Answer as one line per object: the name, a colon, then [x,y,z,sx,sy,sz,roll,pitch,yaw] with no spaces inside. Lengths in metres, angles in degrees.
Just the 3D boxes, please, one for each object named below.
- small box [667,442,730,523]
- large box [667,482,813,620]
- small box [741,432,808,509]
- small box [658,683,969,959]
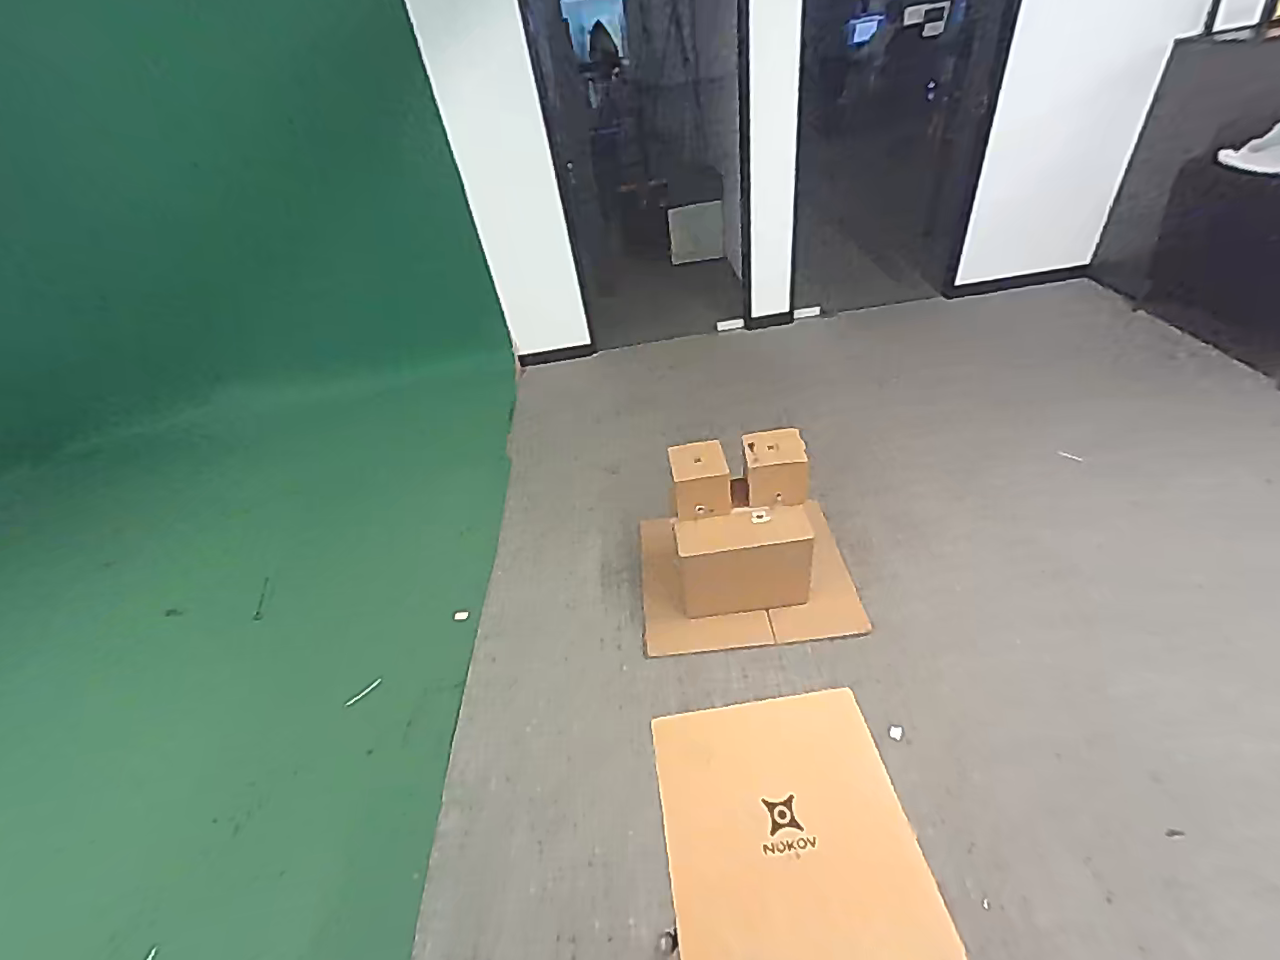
small box: [0.181,0.008,1.686,0.168,0.176,0.179,-10,39,1]
large box: [0.313,0.224,1.783,0.408,0.320,0.320,-8,40,1]
small box: [0.410,-0.026,1.675,0.179,0.176,0.168,-5,40,6]
small box: [0.108,0.291,0.424,0.168,0.176,0.179,-8,40,-1]
